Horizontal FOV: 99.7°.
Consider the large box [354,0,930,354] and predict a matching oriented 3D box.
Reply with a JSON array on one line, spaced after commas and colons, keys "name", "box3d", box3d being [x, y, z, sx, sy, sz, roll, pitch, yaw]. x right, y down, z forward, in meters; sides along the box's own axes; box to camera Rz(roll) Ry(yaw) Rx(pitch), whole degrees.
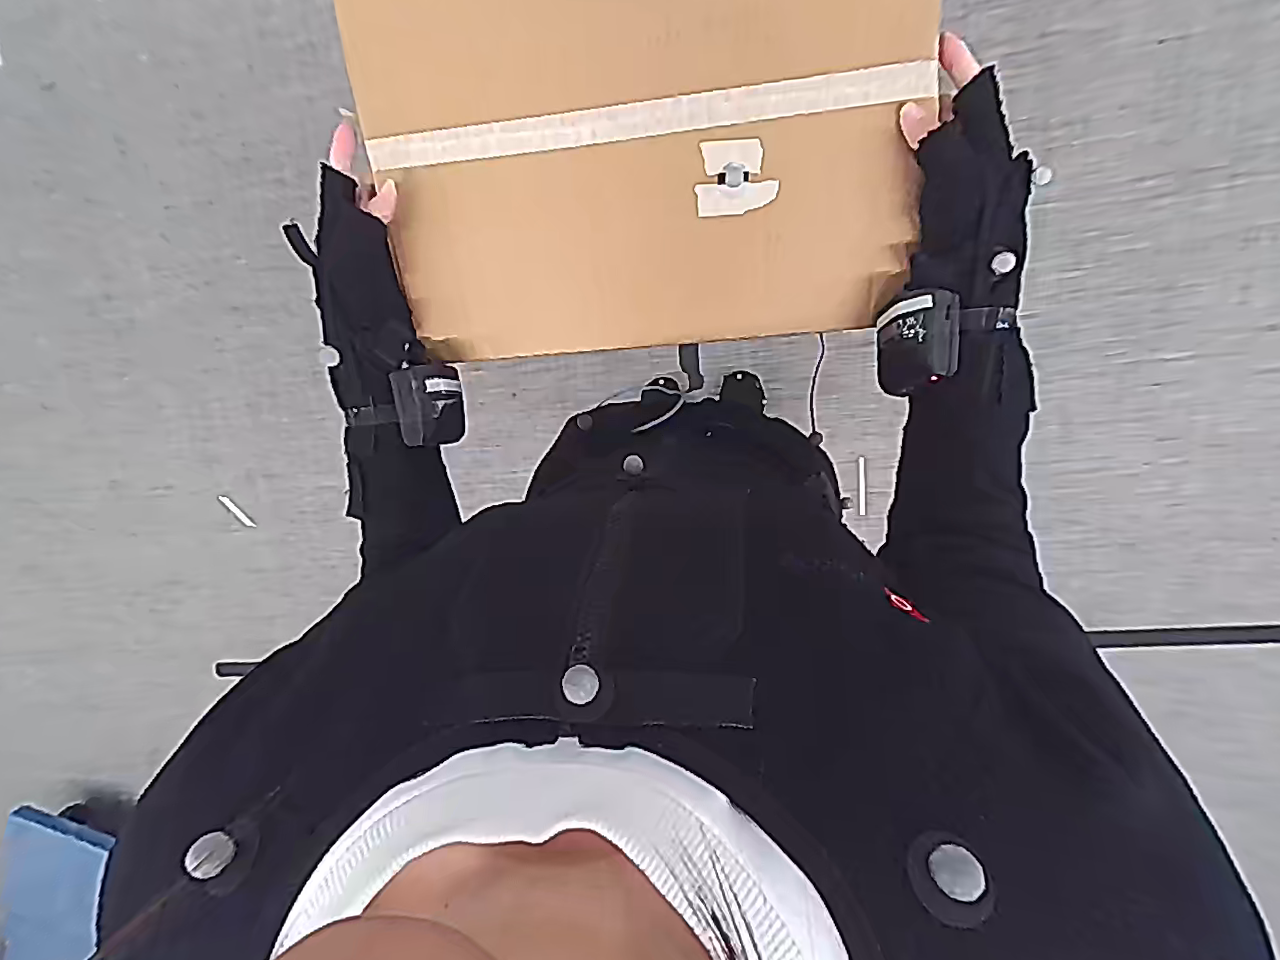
[{"name": "large box", "box3d": [0.011, -0.317, 0.535, 0.408, 0.320, 0.320, -4, 110, 6]}]
